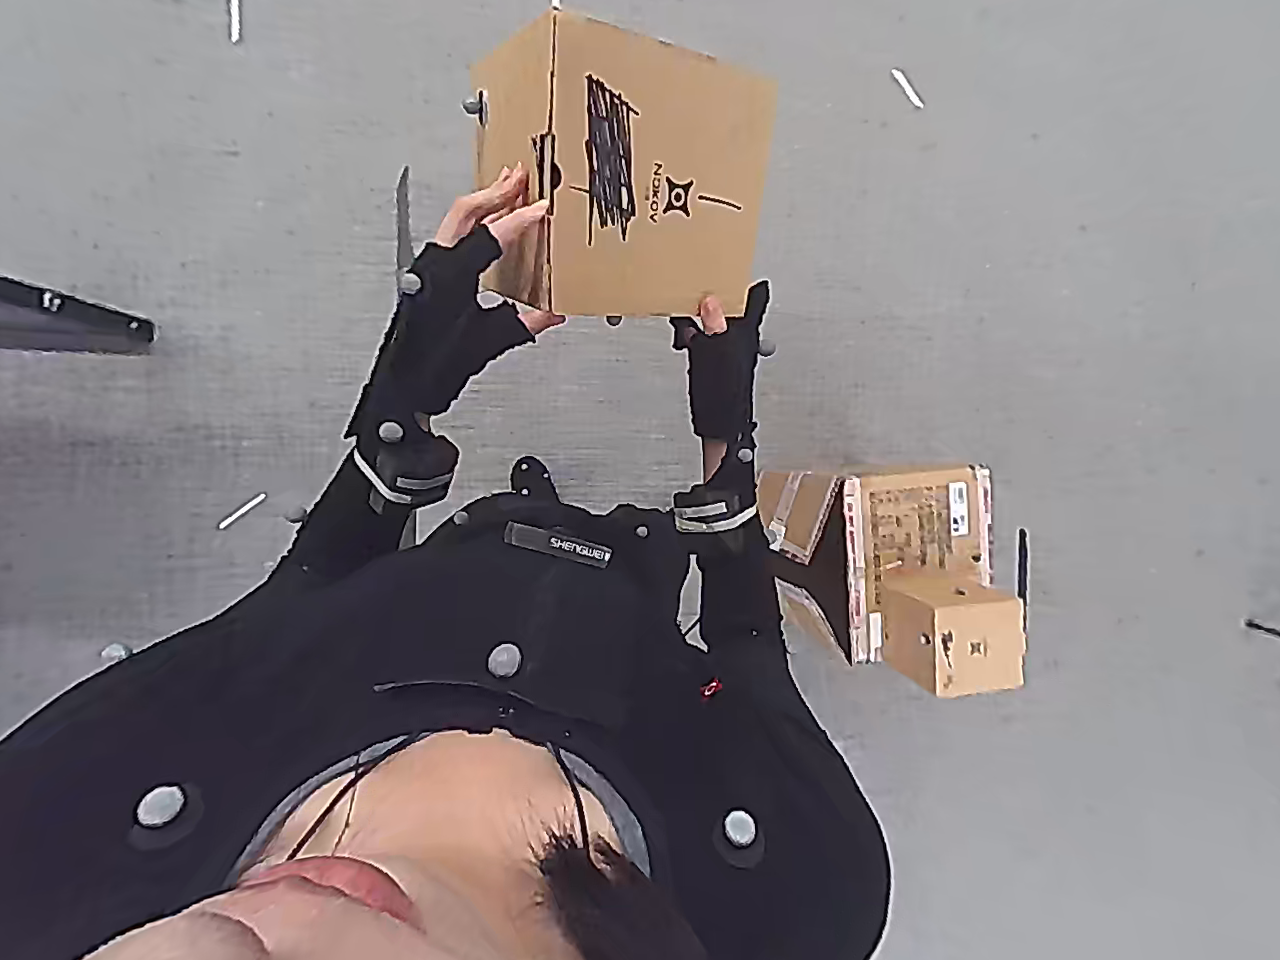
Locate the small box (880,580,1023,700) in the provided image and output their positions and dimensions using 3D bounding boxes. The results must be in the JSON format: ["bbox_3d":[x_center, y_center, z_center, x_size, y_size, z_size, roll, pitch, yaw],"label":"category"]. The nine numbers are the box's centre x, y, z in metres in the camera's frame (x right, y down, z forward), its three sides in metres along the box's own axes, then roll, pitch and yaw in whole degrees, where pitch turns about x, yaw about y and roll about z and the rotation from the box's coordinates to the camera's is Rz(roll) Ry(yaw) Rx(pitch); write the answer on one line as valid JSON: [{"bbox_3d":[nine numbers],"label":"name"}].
[{"bbox_3d":[0.587,0.295,1.033,0.179,0.176,0.168,-4,94,-8],"label":"small box"}]

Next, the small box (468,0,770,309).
[{"bbox_3d":[-0.030,-0.231,0.427,0.179,0.176,0.168,-10,117,-31],"label":"small box"}]
